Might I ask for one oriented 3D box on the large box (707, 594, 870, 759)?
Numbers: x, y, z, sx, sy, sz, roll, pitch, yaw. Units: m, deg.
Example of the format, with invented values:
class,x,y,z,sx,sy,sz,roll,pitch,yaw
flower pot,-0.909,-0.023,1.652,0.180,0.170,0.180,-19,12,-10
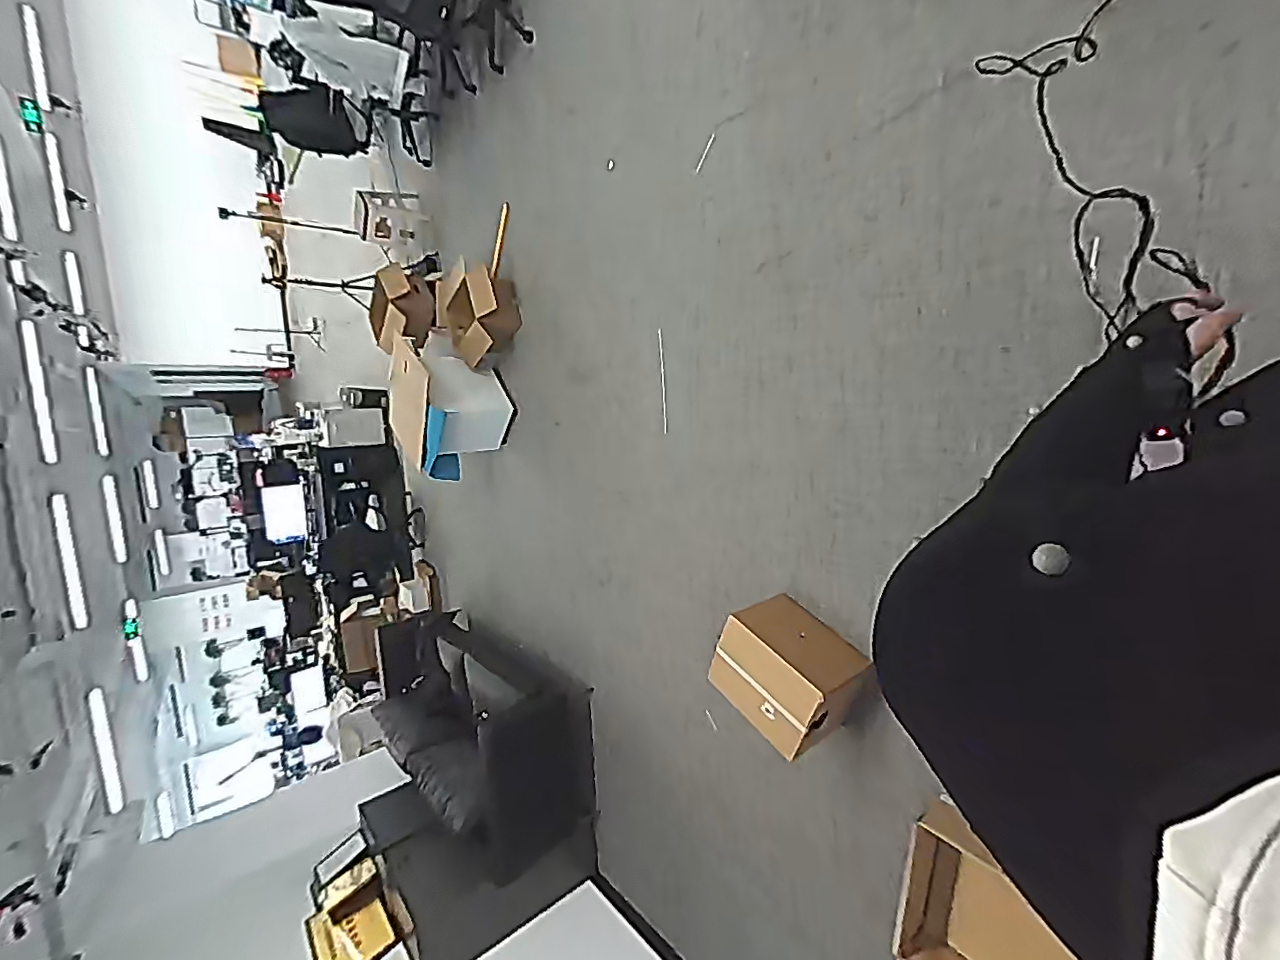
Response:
class,x,y,z,sx,sy,sz,roll,pitch,yaw
large box,0.513,0.668,1.908,0.408,0.320,0.320,36,123,40
